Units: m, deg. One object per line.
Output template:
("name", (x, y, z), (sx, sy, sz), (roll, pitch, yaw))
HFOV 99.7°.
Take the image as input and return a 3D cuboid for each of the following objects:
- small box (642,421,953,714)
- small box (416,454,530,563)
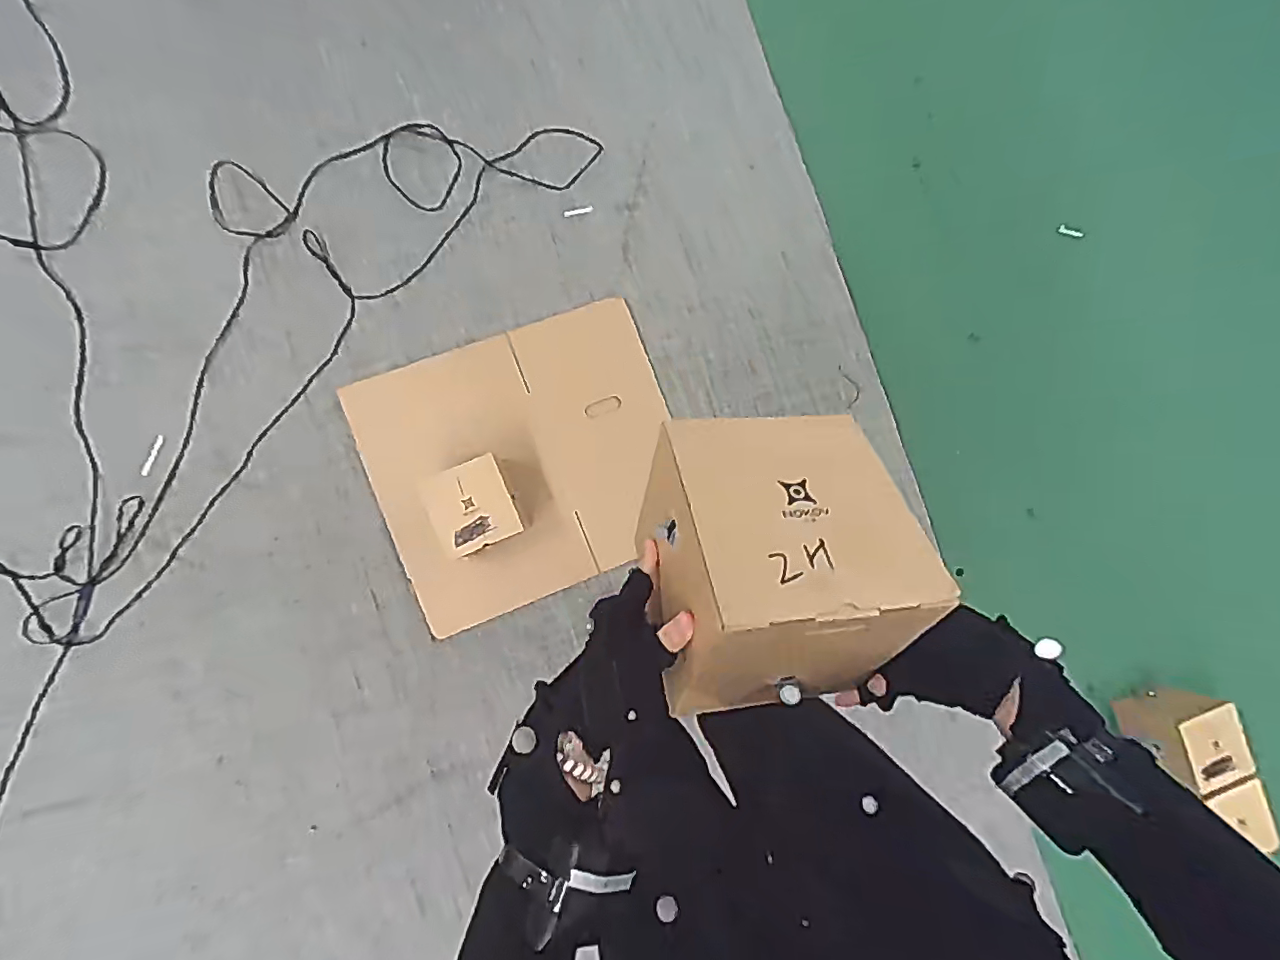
("small box", (0.102, 0.071, 0.448), (0.168, 0.176, 0.179), (-3, 52, -12))
("small box", (-0.345, 0.059, 1.155), (0.168, 0.176, 0.179), (-23, 90, -8))
